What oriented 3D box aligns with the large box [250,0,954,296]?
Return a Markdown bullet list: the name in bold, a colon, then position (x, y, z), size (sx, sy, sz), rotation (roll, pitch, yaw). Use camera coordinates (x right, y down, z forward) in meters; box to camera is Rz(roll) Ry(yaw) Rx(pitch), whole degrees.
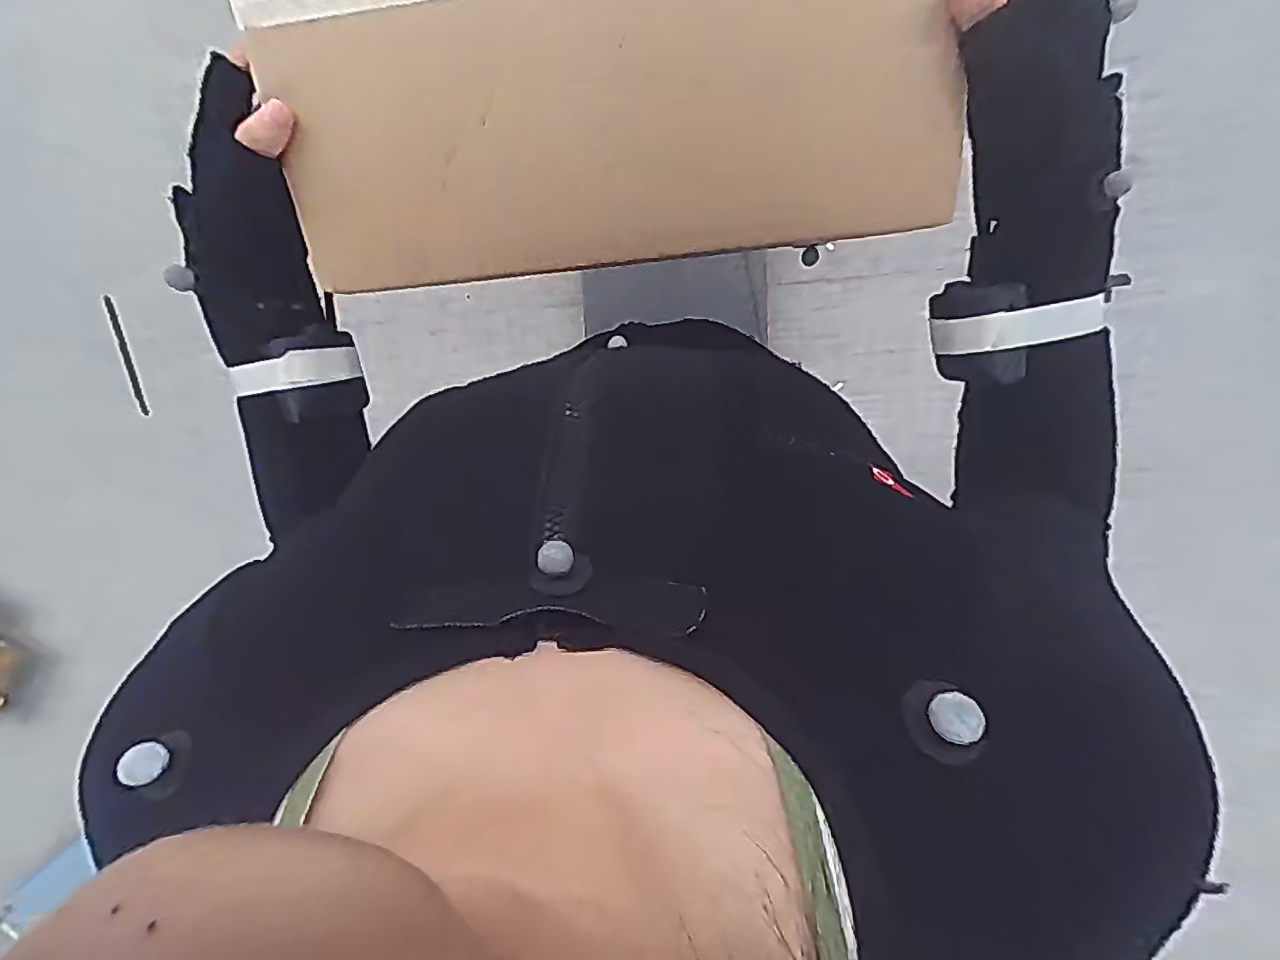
- **large box**: position (-0.018, -0.345, 0.433), size (0.408, 0.320, 0.320), rotation (-4, 113, 6)
